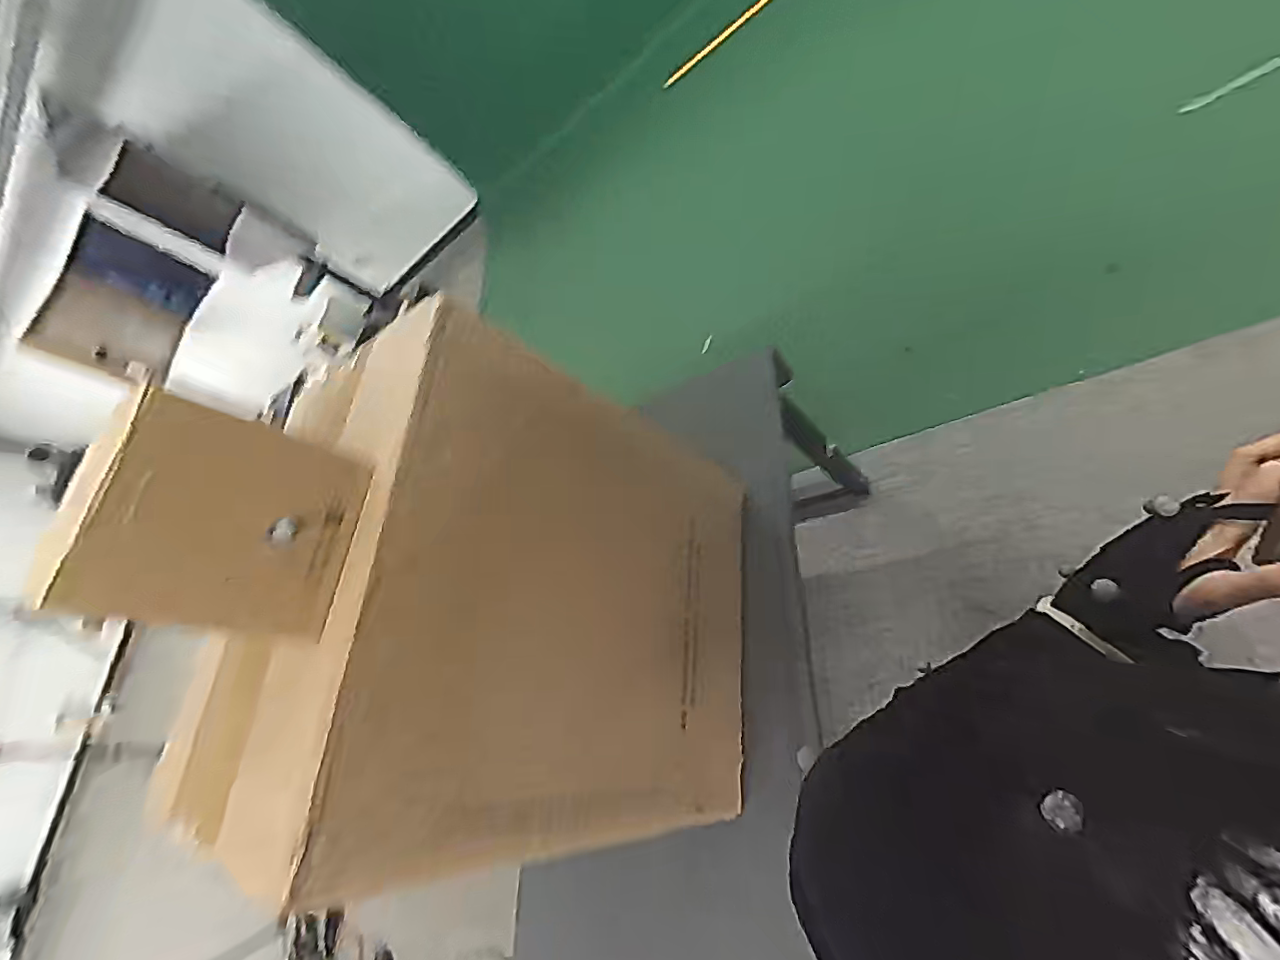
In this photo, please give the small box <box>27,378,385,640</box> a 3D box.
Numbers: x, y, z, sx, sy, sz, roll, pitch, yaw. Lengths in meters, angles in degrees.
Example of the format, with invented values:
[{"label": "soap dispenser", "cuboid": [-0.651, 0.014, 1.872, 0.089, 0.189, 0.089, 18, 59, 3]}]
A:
[{"label": "small box", "cuboid": [-0.355, 0.040, 0.460, 0.179, 0.176, 0.168, -8, 66, 36]}]
